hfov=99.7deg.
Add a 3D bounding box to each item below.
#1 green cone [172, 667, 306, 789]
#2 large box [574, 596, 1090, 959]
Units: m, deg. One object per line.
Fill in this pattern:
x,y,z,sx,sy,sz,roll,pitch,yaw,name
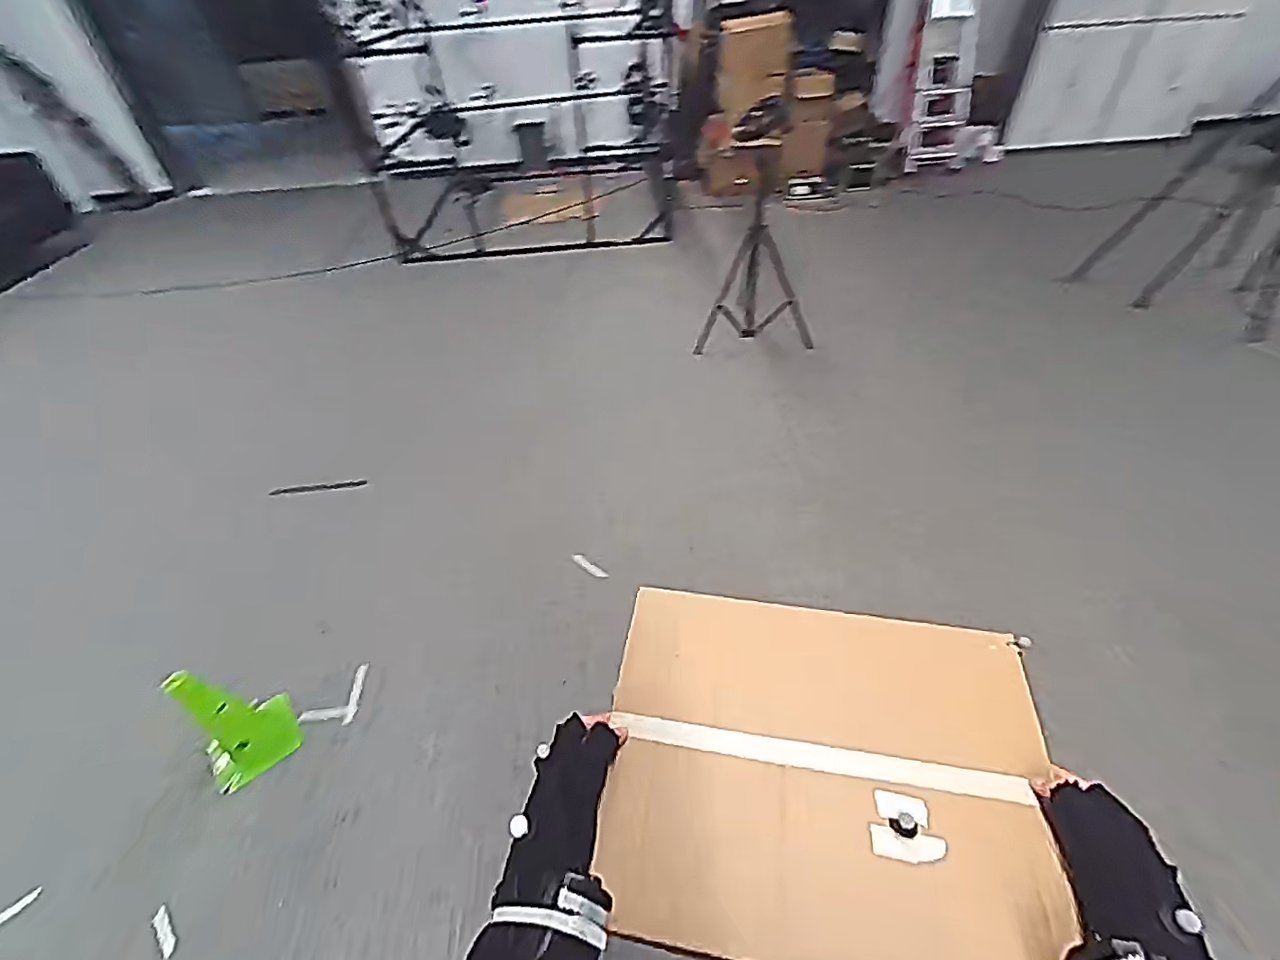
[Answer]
-1.061,0.591,1.387,0.200,0.368,0.202,-33,48,-28,green cone
0.167,0.362,0.621,0.408,0.320,0.320,5,49,9,large box
